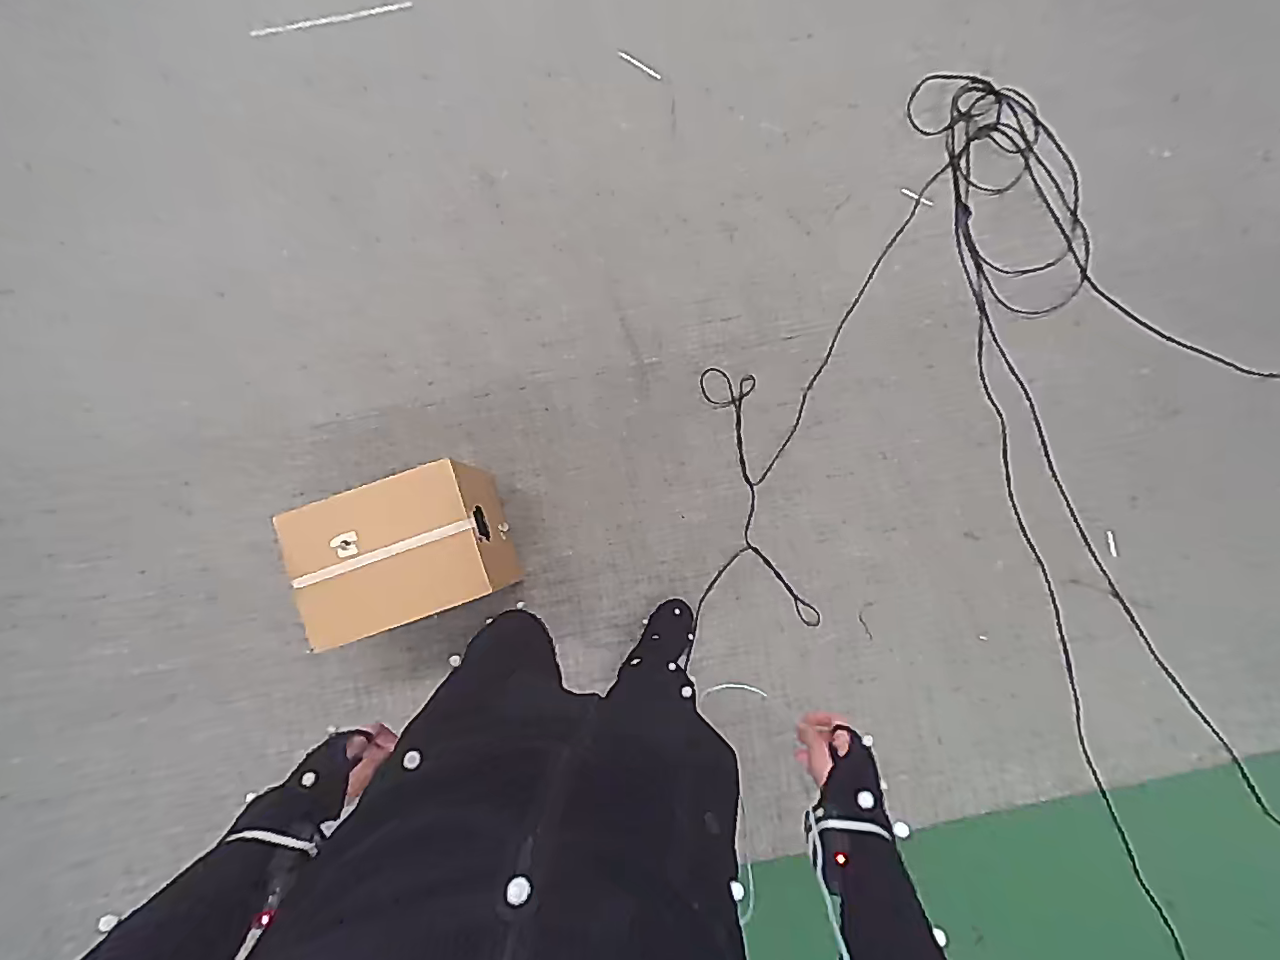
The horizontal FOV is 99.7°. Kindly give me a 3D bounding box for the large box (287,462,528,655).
[{"bbox_3d":[-0.538,0.179,1.324,0.408,0.320,0.320,-20,84,-1],"label":"large box"}]
